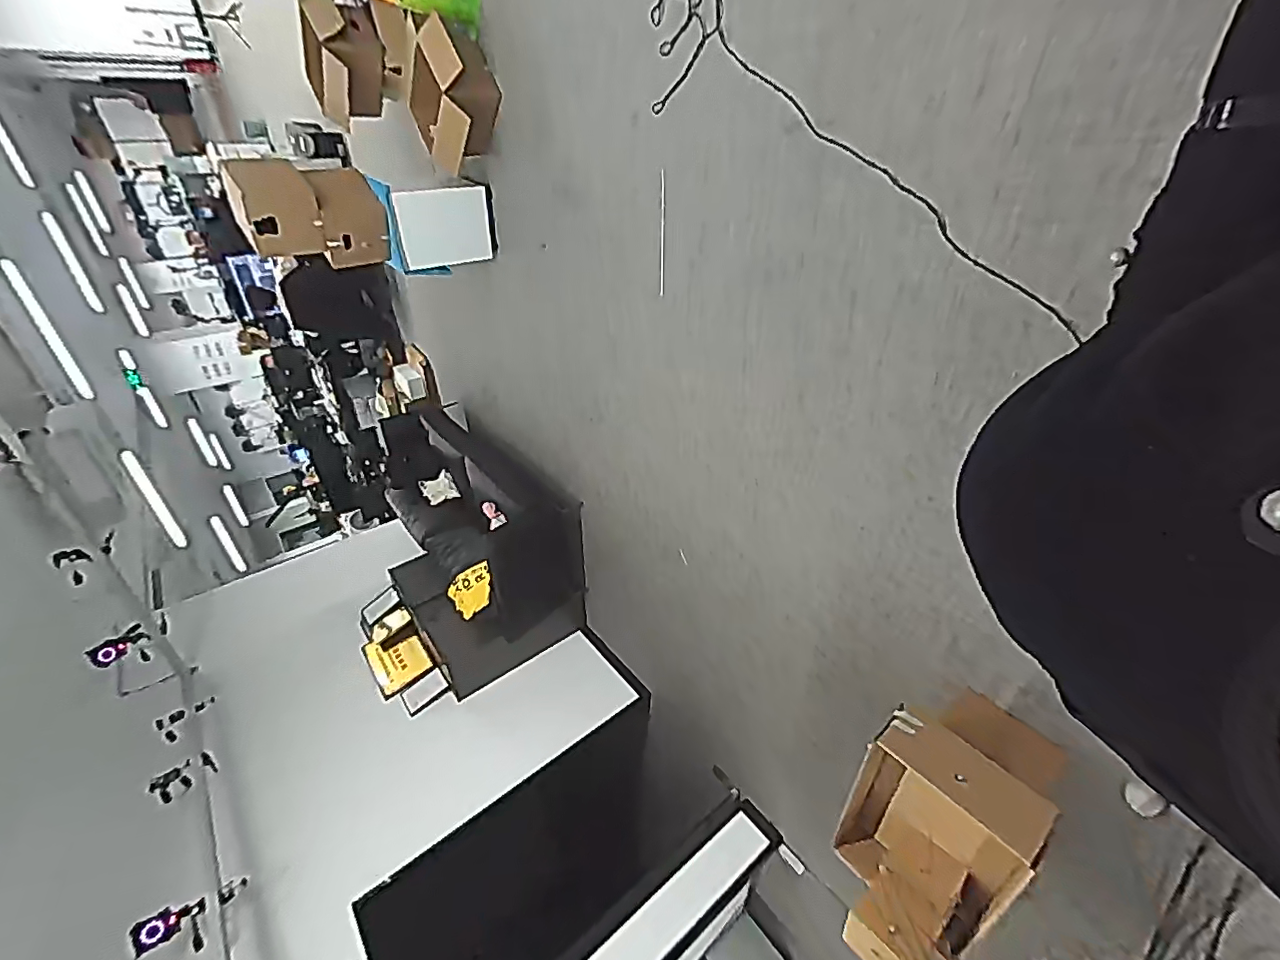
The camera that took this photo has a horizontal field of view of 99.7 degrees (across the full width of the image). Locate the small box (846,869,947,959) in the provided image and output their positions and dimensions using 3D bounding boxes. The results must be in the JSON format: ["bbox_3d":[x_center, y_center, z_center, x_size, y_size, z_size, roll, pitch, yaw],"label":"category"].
[{"bbox_3d":[0.689,1.202,1.460,0.179,0.176,0.168,28,132,44],"label":"small box"}]
